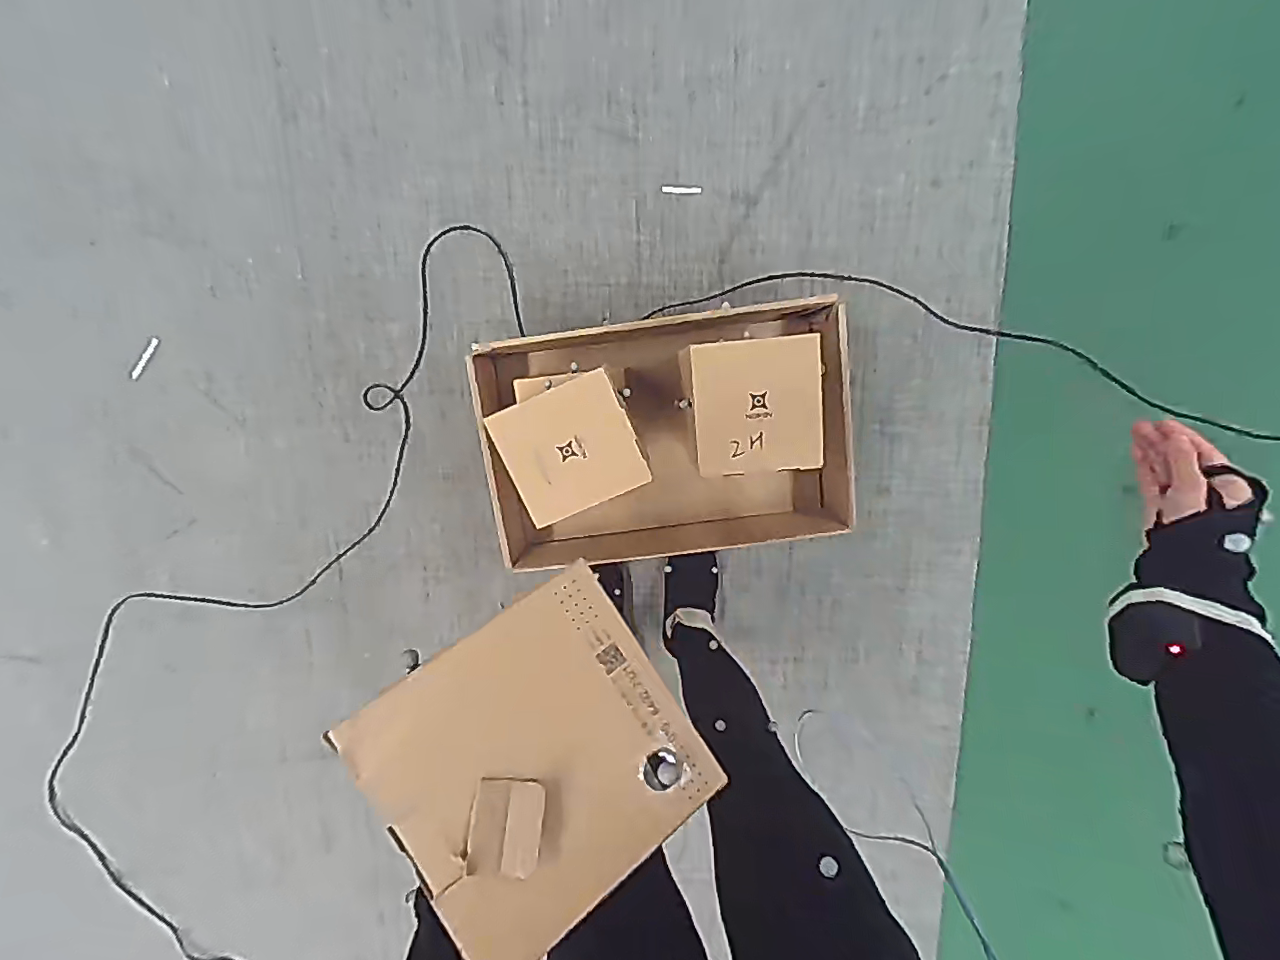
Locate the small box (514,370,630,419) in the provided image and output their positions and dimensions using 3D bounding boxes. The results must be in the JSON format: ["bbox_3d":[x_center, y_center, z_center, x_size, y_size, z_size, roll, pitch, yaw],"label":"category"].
[{"bbox_3d":[-0.106,-0.100,0.948,0.179,0.176,0.168,-7,102,0],"label":"small box"}]

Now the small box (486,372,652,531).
[{"bbox_3d":[-0.095,-0.052,0.791,0.179,0.176,0.168,-23,101,4],"label":"small box"}]

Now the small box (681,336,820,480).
[{"bbox_3d":[0.150,-0.105,0.776,0.168,0.176,0.179,-5,102,2],"label":"small box"}]
